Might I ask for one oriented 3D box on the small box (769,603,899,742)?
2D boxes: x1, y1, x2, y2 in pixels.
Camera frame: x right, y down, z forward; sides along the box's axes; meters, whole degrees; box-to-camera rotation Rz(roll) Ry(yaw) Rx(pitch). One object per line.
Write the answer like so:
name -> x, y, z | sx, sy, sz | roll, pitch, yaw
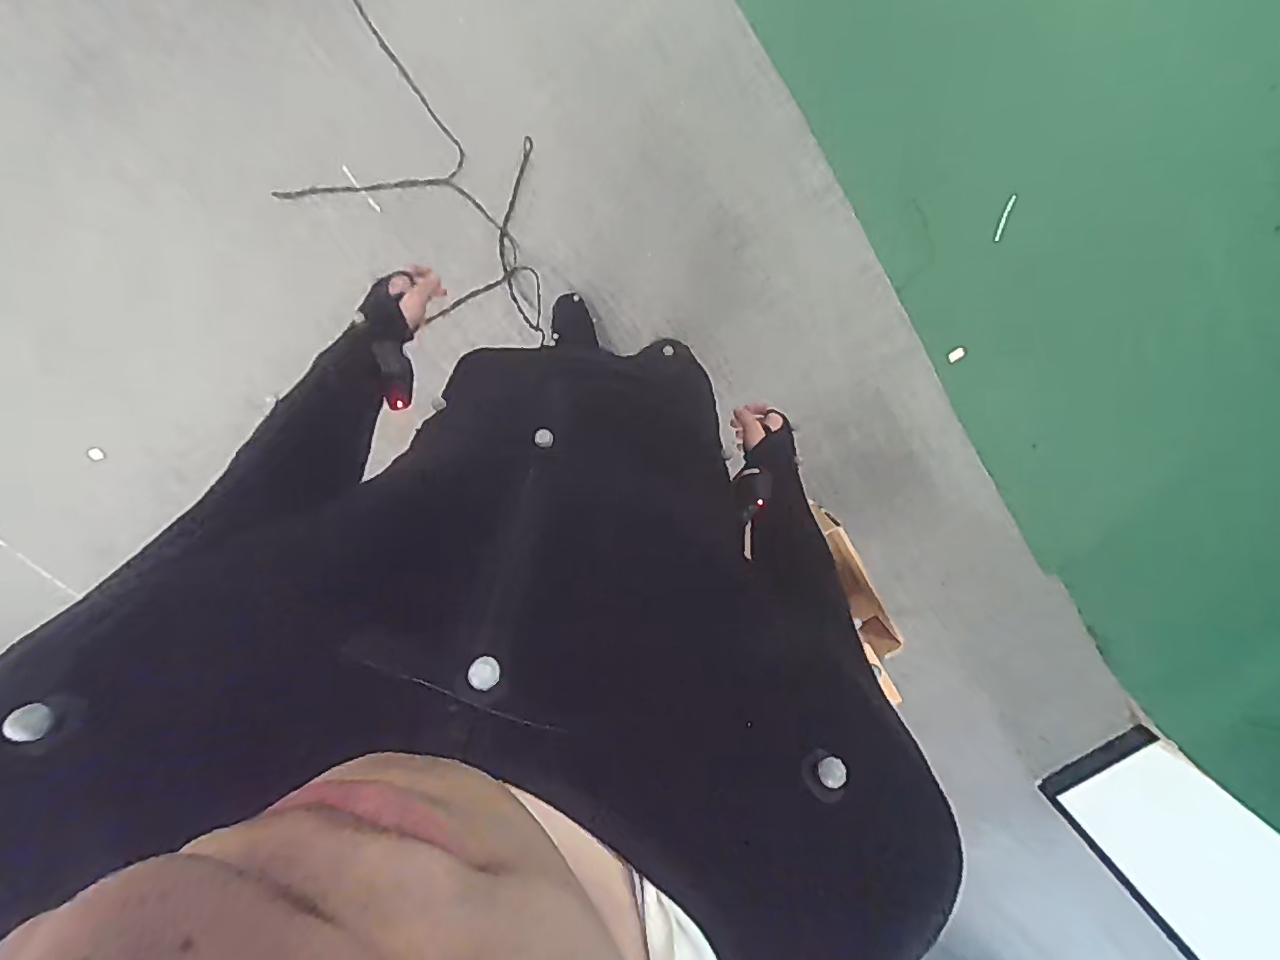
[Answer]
small box -> 0.396, 0.393, 1.127 | 0.168, 0.176, 0.179 | -32, 109, 7
